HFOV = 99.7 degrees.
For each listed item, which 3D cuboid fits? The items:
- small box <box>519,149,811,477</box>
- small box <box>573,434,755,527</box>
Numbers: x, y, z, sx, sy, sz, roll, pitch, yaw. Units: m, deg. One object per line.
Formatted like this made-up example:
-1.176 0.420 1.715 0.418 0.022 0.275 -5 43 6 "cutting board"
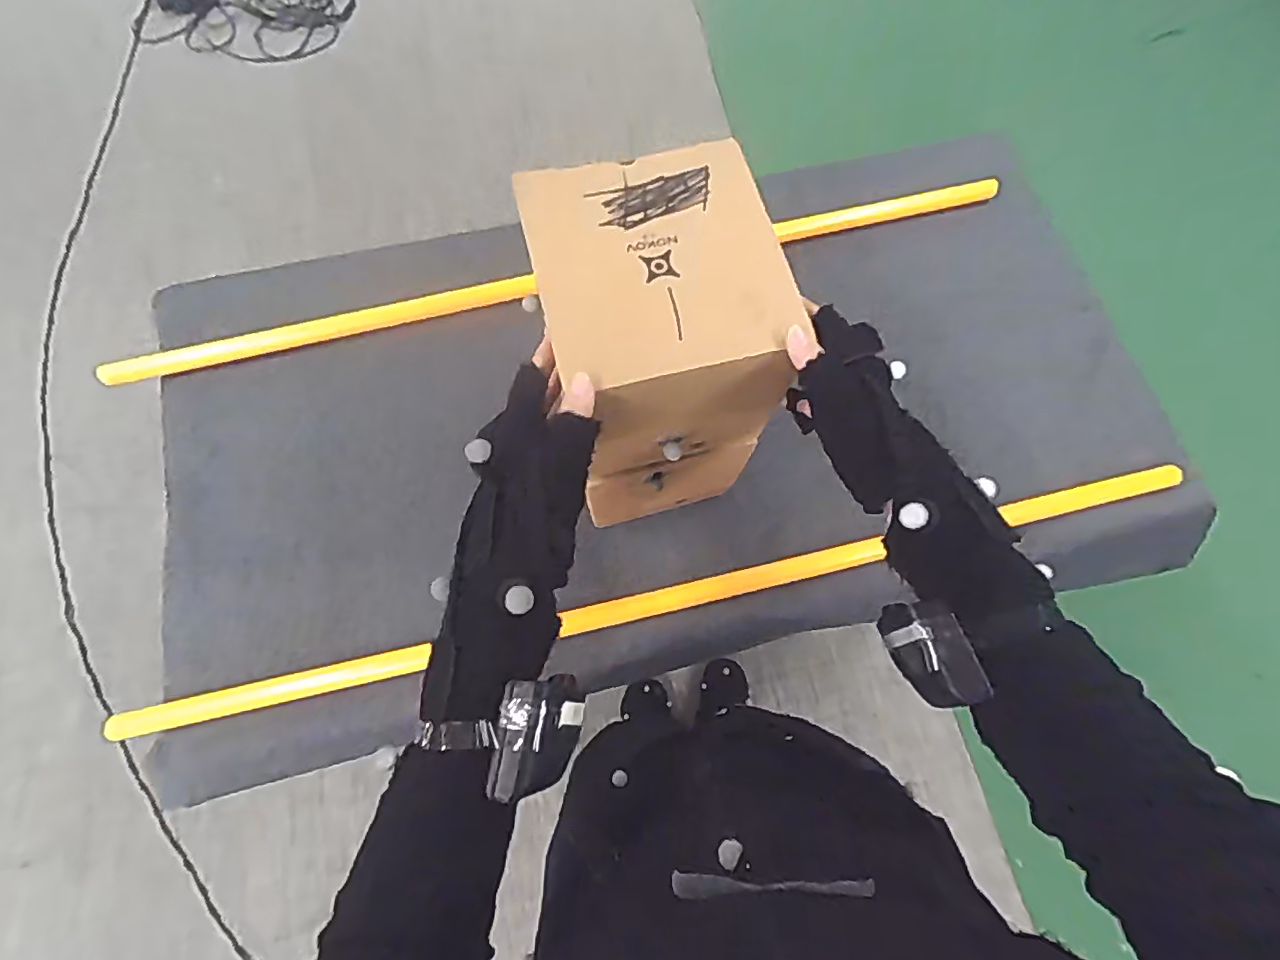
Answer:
0.009 -0.122 0.440 0.168 0.176 0.179 -13 73 -5 "small box"
0.006 -0.066 0.595 0.168 0.176 0.179 -15 72 -5 "small box"
